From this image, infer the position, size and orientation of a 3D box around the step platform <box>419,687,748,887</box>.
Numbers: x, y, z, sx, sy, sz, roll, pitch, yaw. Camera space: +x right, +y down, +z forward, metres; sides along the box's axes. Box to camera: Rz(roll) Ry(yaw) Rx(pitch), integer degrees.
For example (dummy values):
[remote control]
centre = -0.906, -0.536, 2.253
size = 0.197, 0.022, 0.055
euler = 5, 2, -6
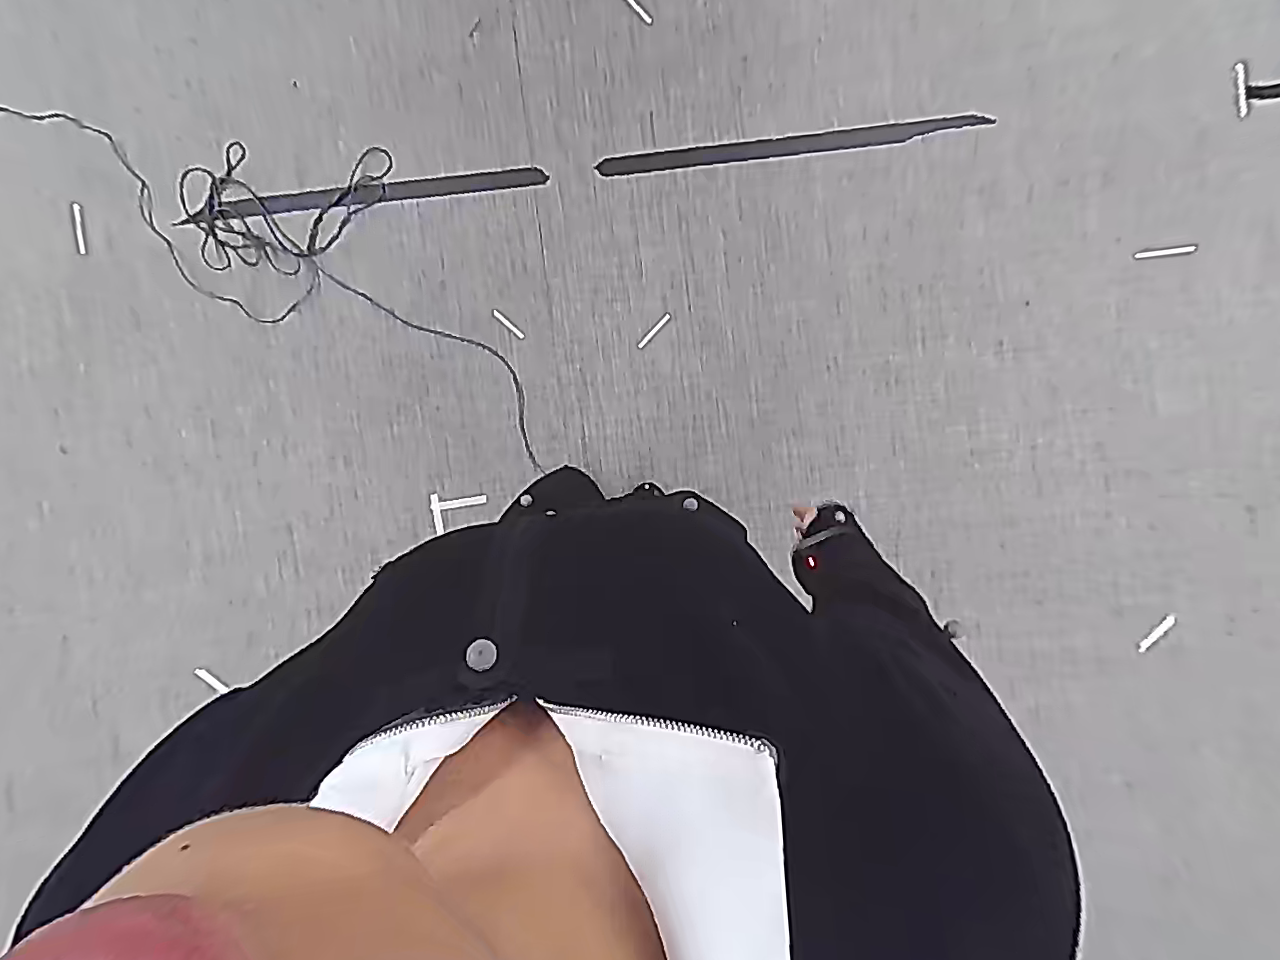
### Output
[step platform]
centre = -0.116, 0.670, 1.214
size = 0.684, 0.204, 0.286
euler = -8, 93, 2
